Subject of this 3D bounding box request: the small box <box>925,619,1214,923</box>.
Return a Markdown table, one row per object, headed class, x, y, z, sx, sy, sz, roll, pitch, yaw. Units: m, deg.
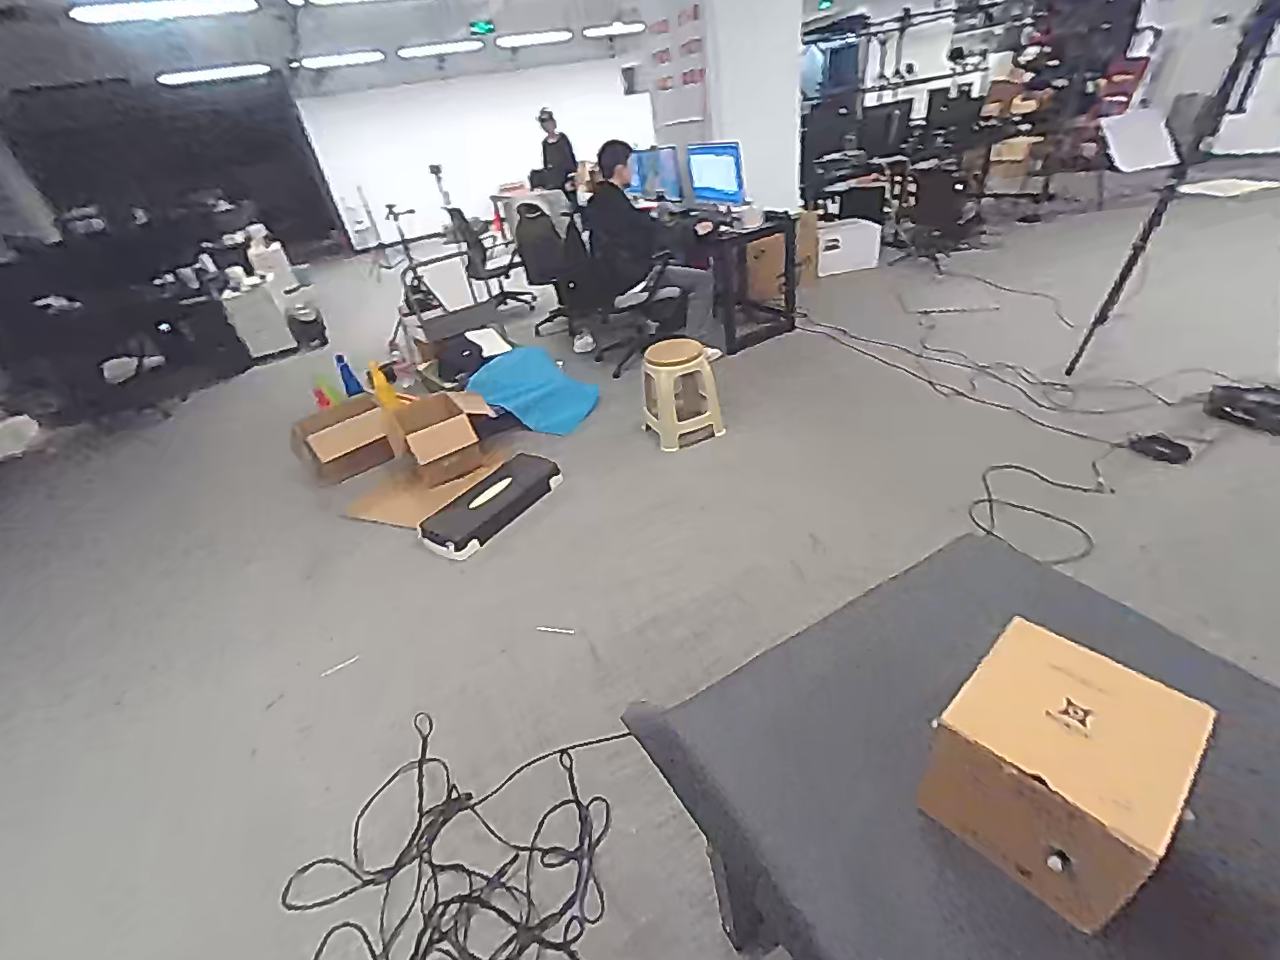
| class | x | y | z | sx | sy | sz | roll | pitch | yaw |
| --- | --- | --- | --- | --- | --- | --- | --- | --- | --- |
| small box | 0.413 | 0.285 | 0.545 | 0.179 | 0.176 | 0.168 | -30 | 39 | -30 |
